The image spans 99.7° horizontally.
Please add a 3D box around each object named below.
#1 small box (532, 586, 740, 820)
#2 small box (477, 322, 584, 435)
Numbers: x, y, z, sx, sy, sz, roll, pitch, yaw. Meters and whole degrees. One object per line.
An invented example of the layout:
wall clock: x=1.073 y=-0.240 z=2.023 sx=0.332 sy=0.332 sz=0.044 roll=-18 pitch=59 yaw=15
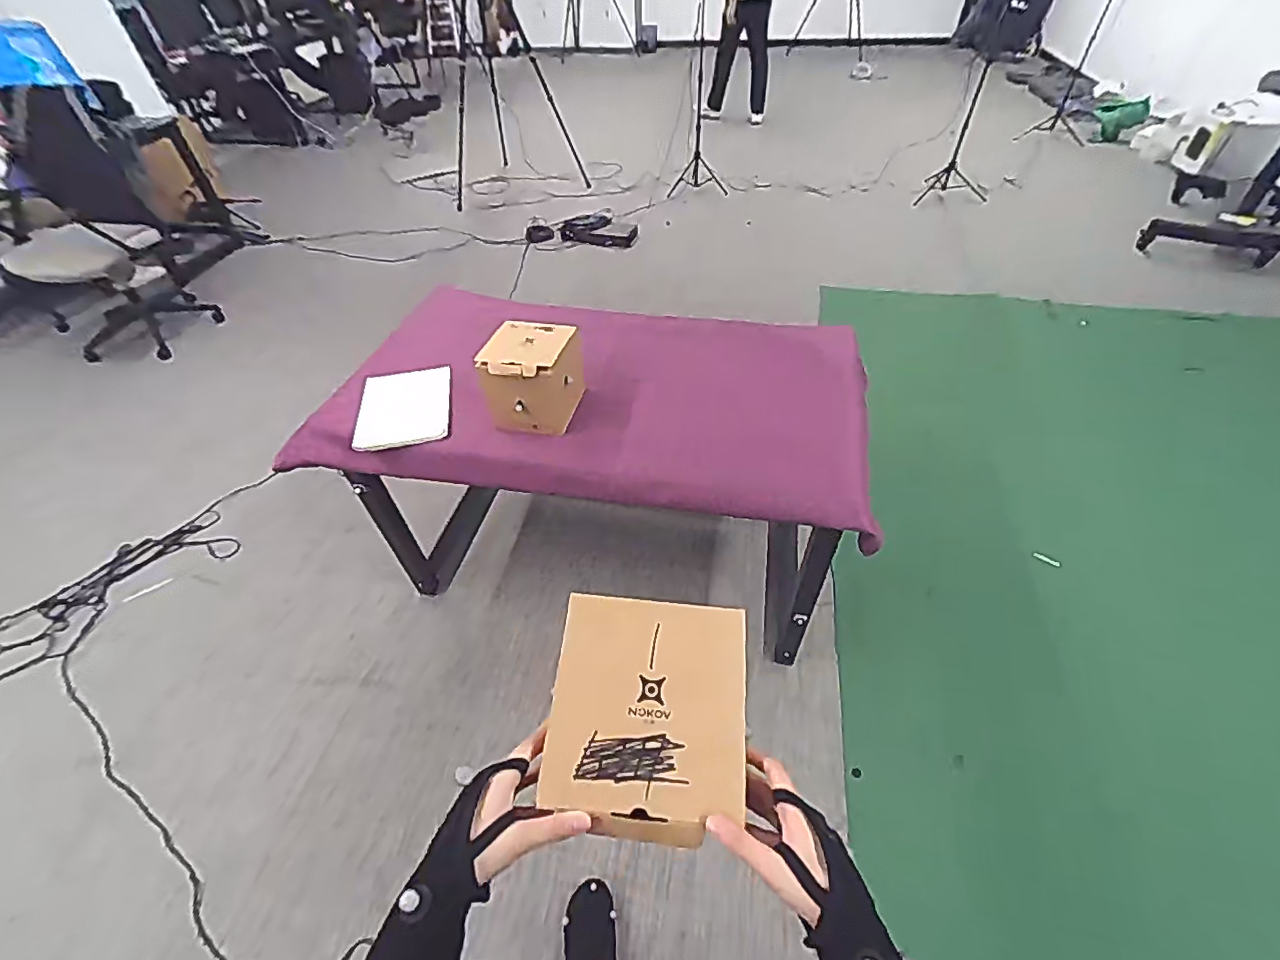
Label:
small box: x=0.003 y=0.222 z=0.537 sx=0.168 sy=0.176 sz=0.179 roll=6 pitch=60 yaw=2
small box: x=-0.227 y=-0.220 z=1.180 sx=0.168 sy=0.176 sz=0.179 roll=9 pitch=48 yaw=9
